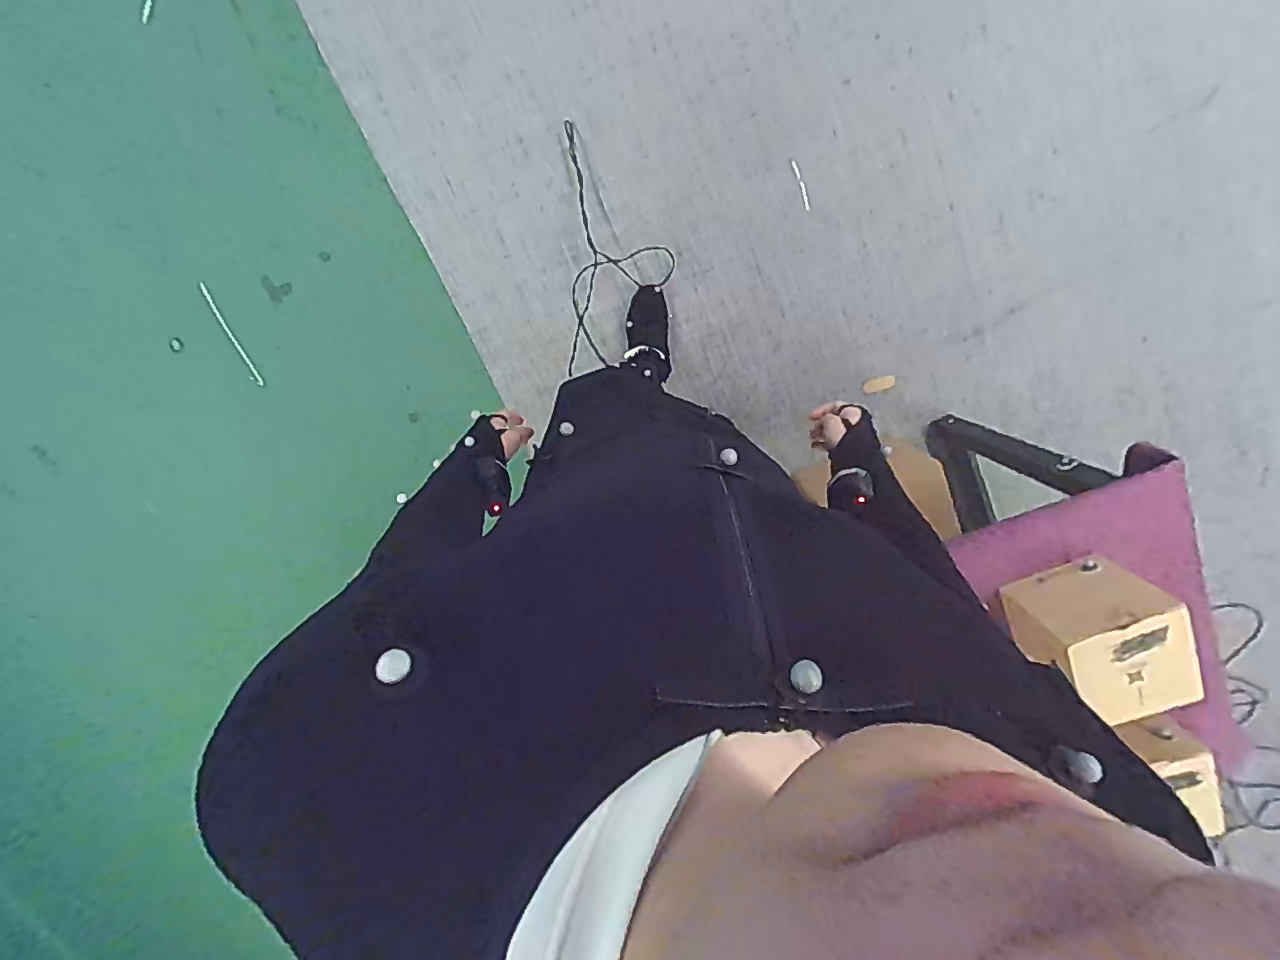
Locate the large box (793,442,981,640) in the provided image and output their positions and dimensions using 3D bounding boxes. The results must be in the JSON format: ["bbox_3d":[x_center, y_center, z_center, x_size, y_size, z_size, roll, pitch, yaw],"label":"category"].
[{"bbox_3d":[0.669,0.158,1.514,0.320,0.320,0.408,-22,106,10],"label":"large box"}]

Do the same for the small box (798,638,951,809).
[{"bbox_3d":[0.386,0.403,0.912,0.168,0.176,0.179,-21,106,8],"label":"small box"}]

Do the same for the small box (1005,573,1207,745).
[{"bbox_3d":[0.717,0.268,0.850,0.168,0.176,0.179,-23,106,10],"label":"small box"}]
